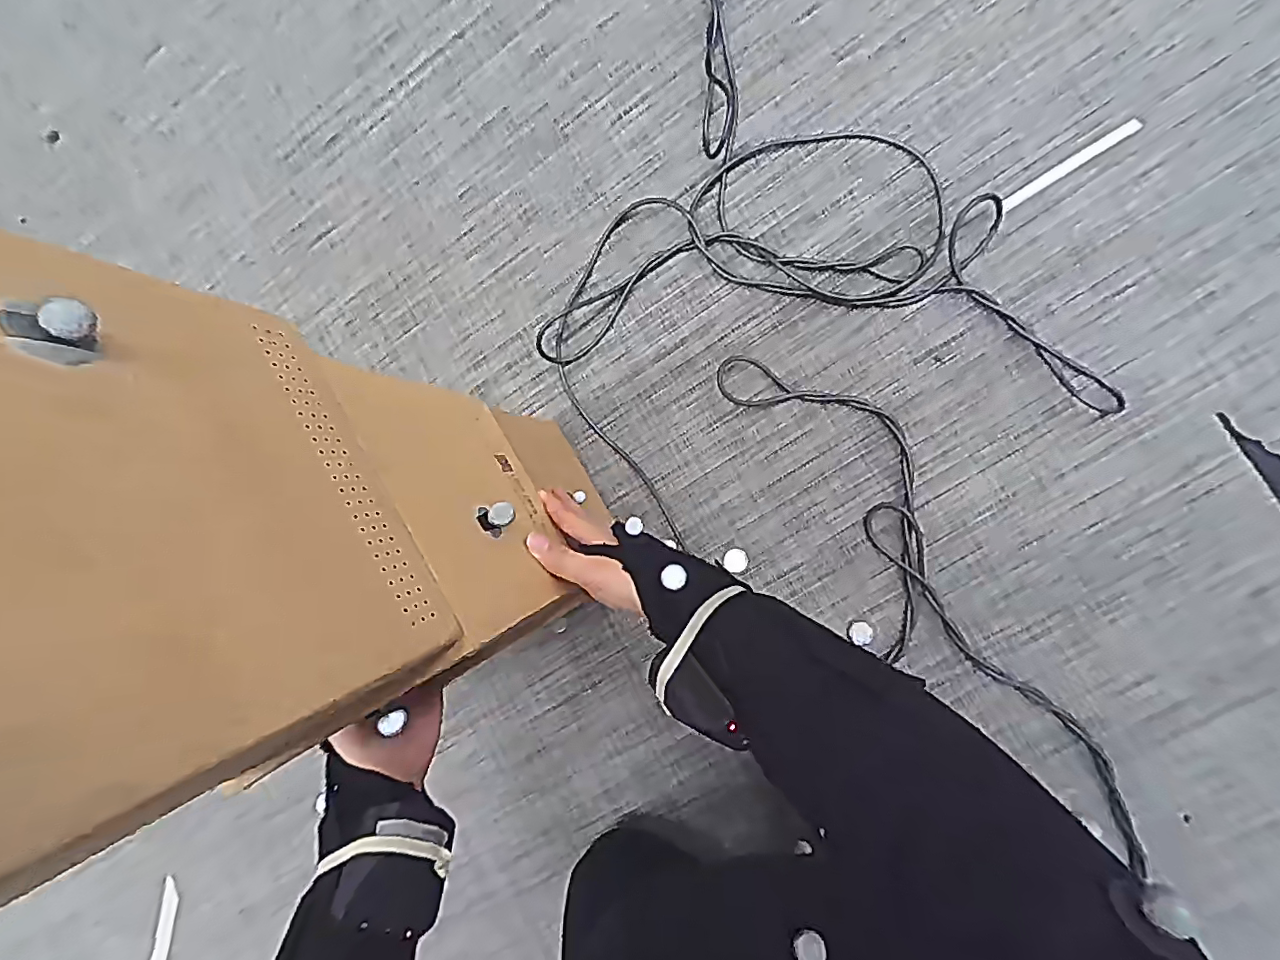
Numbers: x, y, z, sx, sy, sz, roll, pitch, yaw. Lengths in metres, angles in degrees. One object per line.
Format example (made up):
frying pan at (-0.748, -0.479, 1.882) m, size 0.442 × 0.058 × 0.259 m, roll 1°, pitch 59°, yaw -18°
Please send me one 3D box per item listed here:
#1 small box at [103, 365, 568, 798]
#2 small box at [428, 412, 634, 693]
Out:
small box at (-0.166, 0.052, 0.352) m, size 0.179 × 0.176 × 0.168 m, roll -33°, pitch 84°, yaw 12°
small box at (-0.128, 0.058, 0.510) m, size 0.168 × 0.176 × 0.179 m, roll -33°, pitch 85°, yaw 12°
